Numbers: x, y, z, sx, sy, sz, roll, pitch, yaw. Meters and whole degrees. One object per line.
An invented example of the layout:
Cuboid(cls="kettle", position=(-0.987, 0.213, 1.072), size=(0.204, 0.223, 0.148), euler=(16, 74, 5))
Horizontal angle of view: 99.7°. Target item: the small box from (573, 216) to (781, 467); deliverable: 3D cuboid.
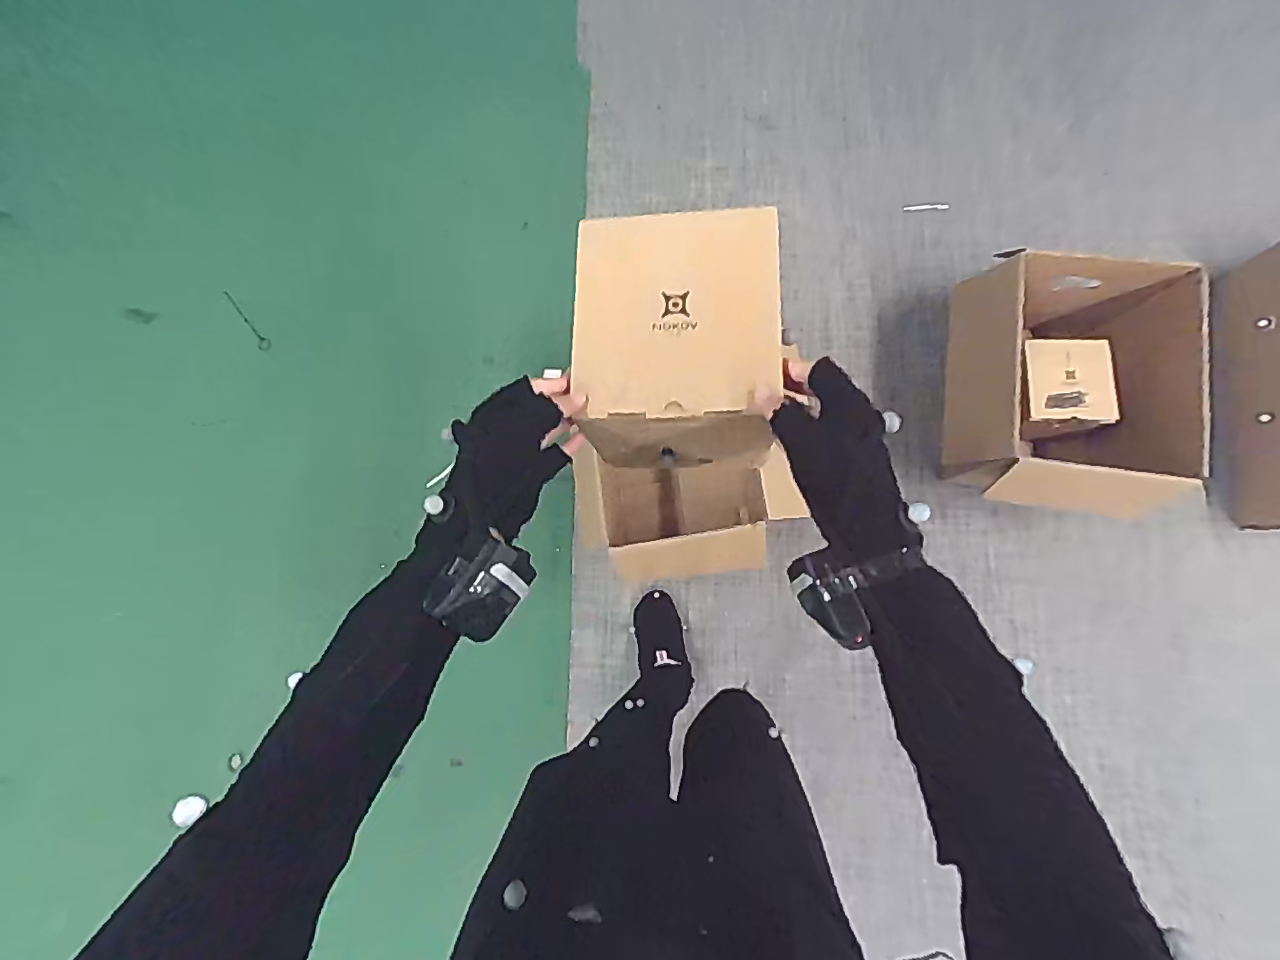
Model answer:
Cuboid(cls="small box", position=(0.040, -0.117, 0.516), size=(0.168, 0.176, 0.179), euler=(-1, 78, 9))
